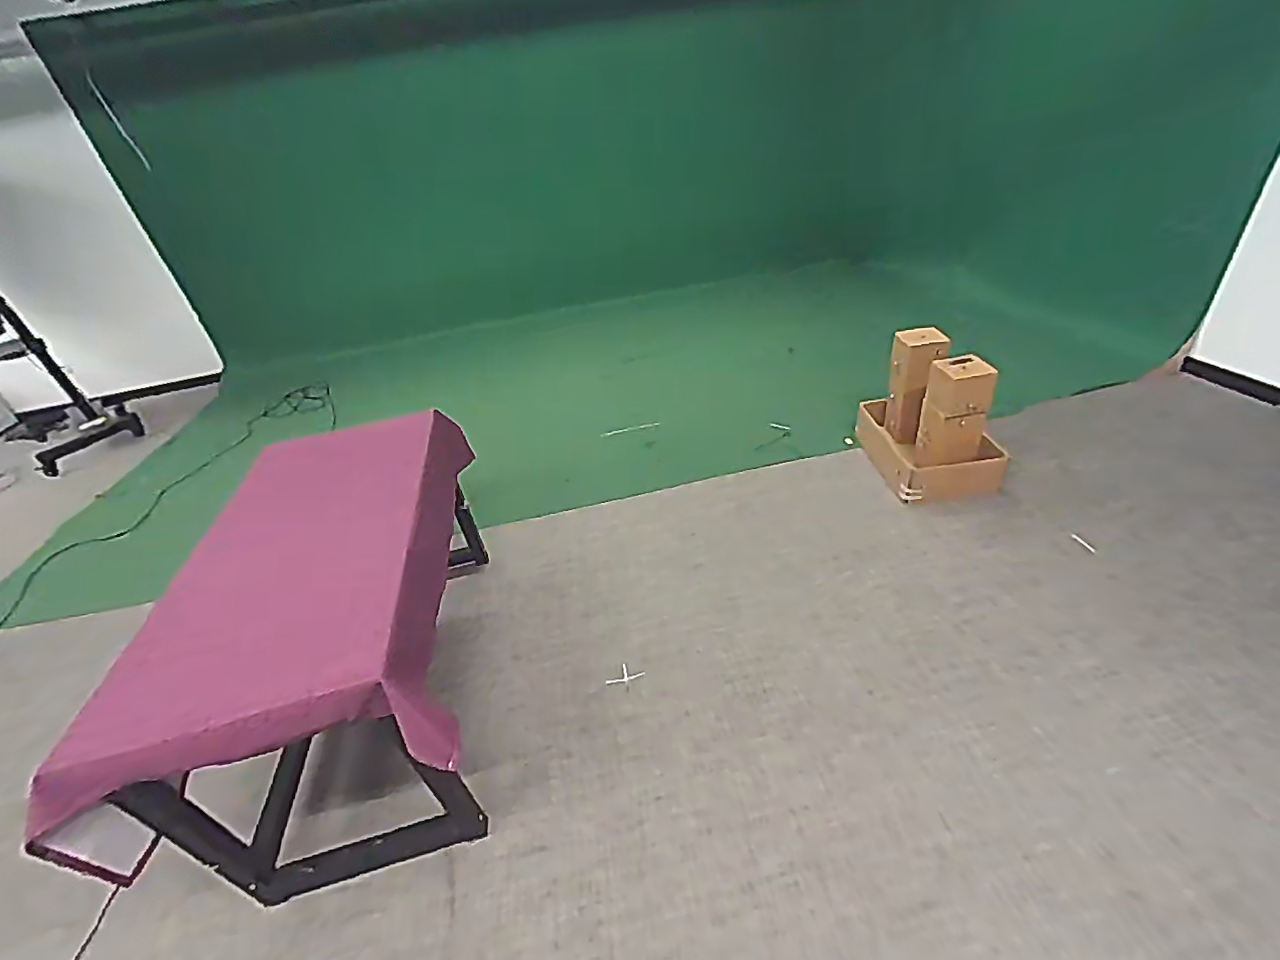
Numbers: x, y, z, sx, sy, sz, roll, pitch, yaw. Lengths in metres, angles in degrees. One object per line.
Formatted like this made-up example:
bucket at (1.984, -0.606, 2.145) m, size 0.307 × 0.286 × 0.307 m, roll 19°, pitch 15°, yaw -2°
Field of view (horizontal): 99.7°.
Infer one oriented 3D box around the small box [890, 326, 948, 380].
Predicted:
small box at (1.239, -0.565, 2.413) m, size 0.179 × 0.176 × 0.168 m, roll -8°, pitch 36°, yaw 5°

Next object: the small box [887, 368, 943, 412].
small box at (1.267, -0.431, 2.504) m, size 0.179 × 0.176 × 0.168 m, roll -7°, pitch 36°, yaw 7°
